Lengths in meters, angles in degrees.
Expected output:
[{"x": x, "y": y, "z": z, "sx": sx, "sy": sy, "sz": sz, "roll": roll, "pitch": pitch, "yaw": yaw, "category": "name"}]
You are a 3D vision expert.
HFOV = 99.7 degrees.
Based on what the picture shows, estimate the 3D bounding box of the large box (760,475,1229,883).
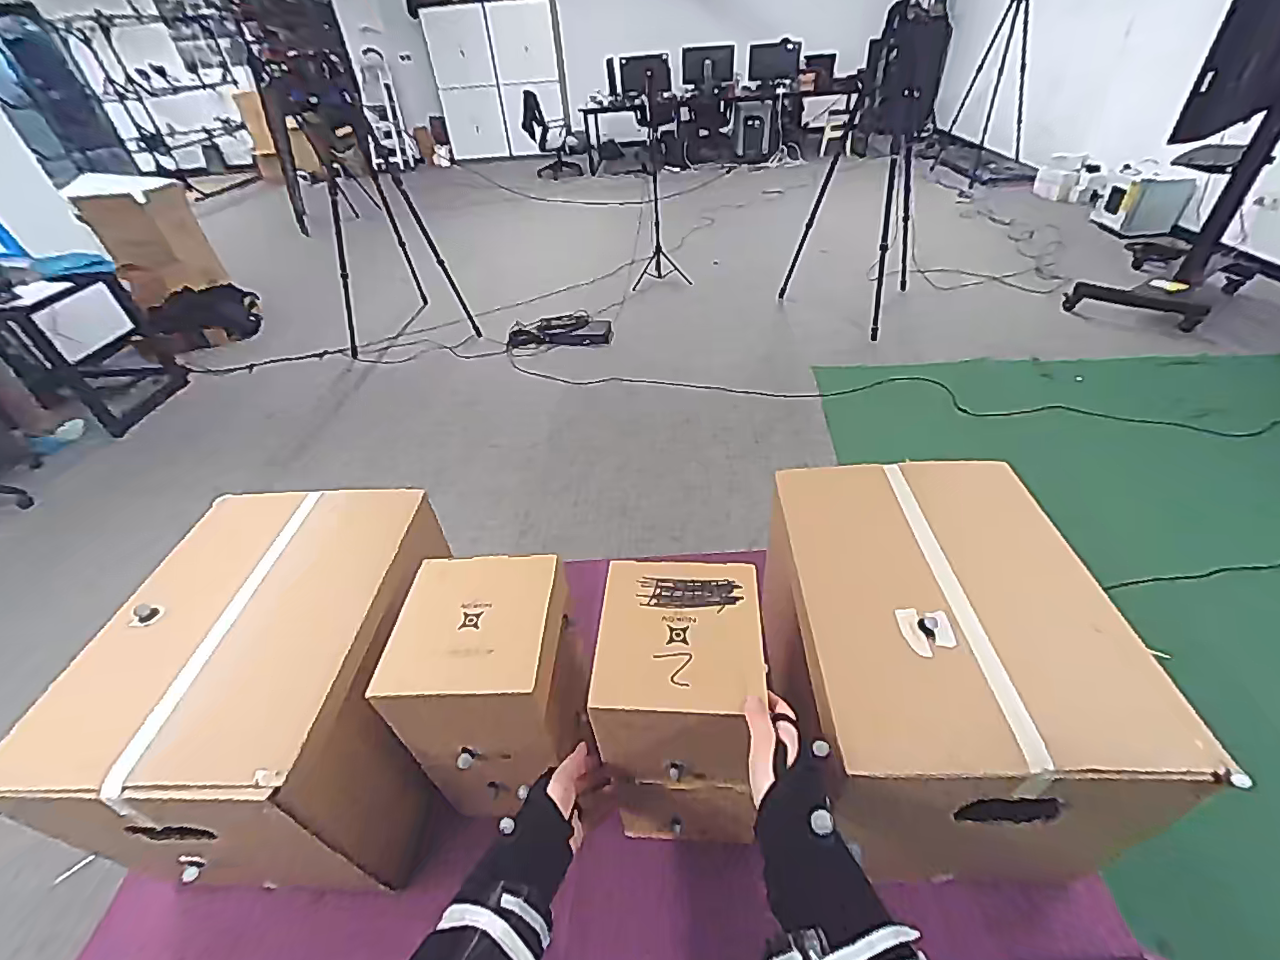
[{"x": 0.349, "y": 0.237, "z": 0.701, "sx": 0.320, "sy": 0.320, "sz": 0.408, "roll": -1, "pitch": 41, "yaw": 4, "category": "large box"}]
